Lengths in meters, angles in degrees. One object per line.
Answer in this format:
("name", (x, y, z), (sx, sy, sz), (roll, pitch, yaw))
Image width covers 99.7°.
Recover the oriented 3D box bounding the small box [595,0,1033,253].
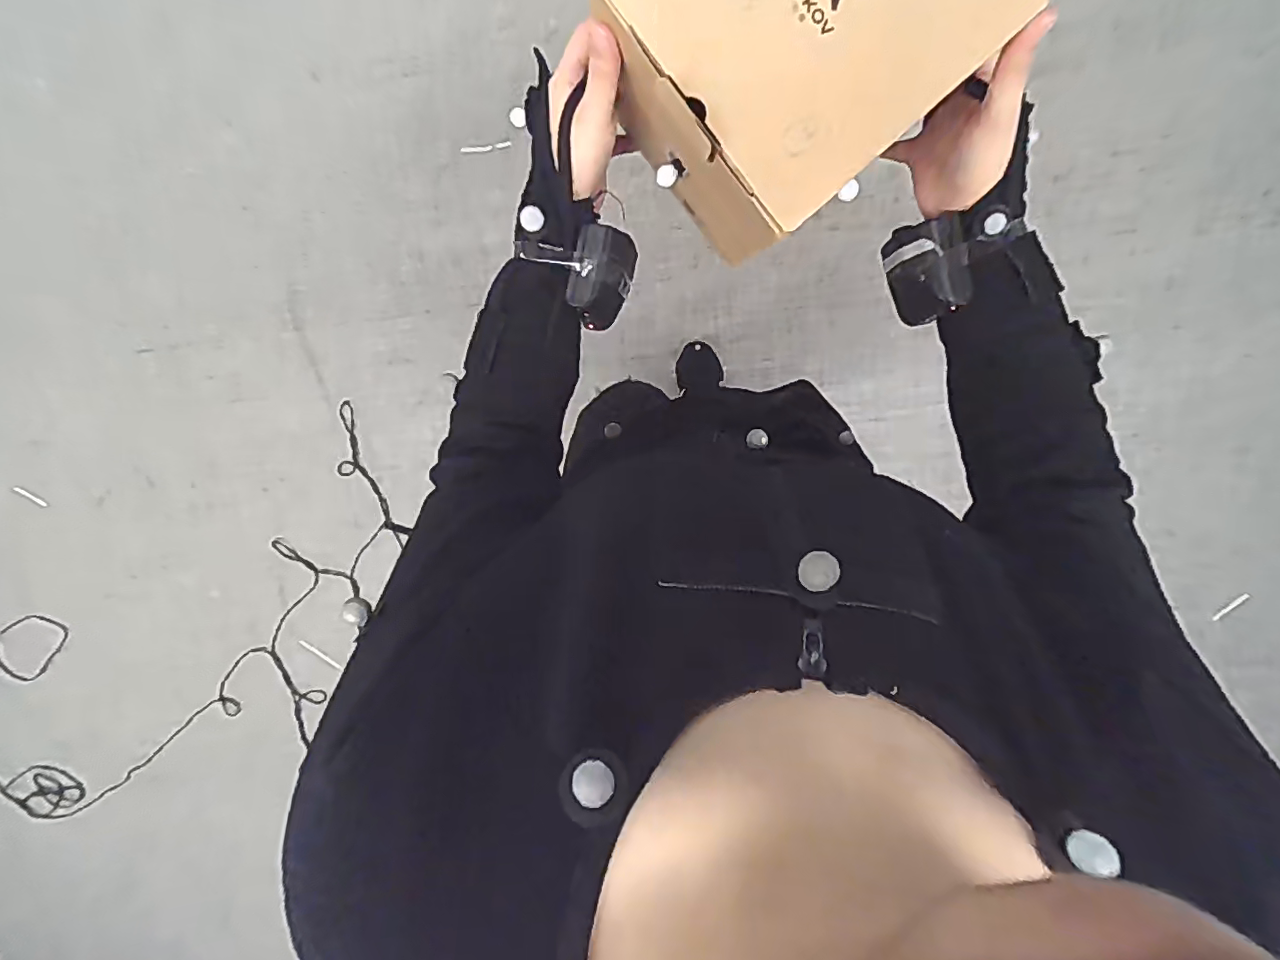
("small box", (0.092, -0.279, 0.359), (0.179, 0.176, 0.168), (-40, 102, 10))
